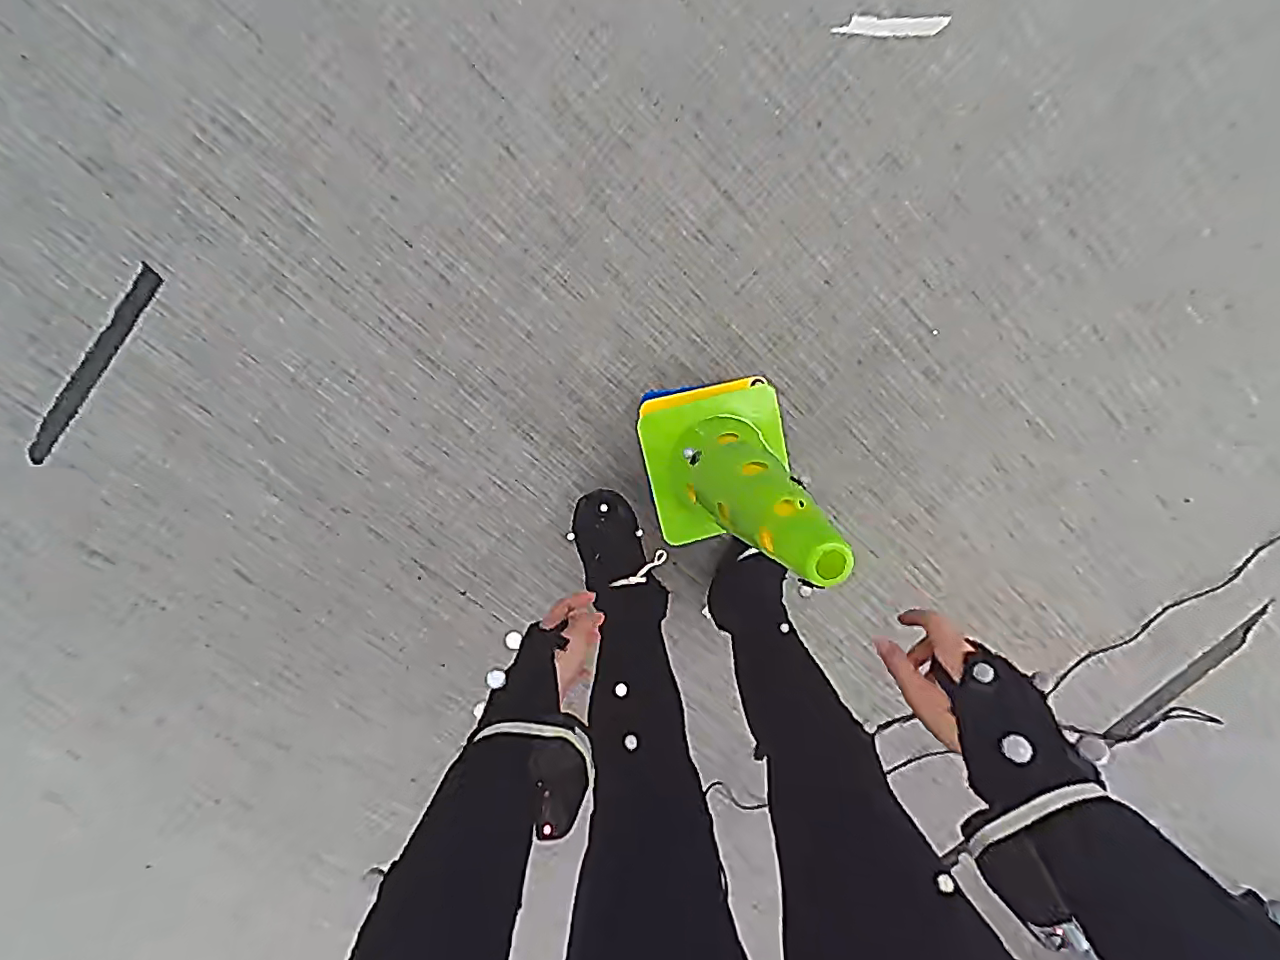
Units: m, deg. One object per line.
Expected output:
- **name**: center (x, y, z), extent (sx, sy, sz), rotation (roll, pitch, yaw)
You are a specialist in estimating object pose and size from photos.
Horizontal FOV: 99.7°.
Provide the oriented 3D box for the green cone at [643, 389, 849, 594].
- **green cone**: center (0.134, 0.025, 0.596), extent (0.202, 0.368, 0.200), rotation (-15, 104, -1)
